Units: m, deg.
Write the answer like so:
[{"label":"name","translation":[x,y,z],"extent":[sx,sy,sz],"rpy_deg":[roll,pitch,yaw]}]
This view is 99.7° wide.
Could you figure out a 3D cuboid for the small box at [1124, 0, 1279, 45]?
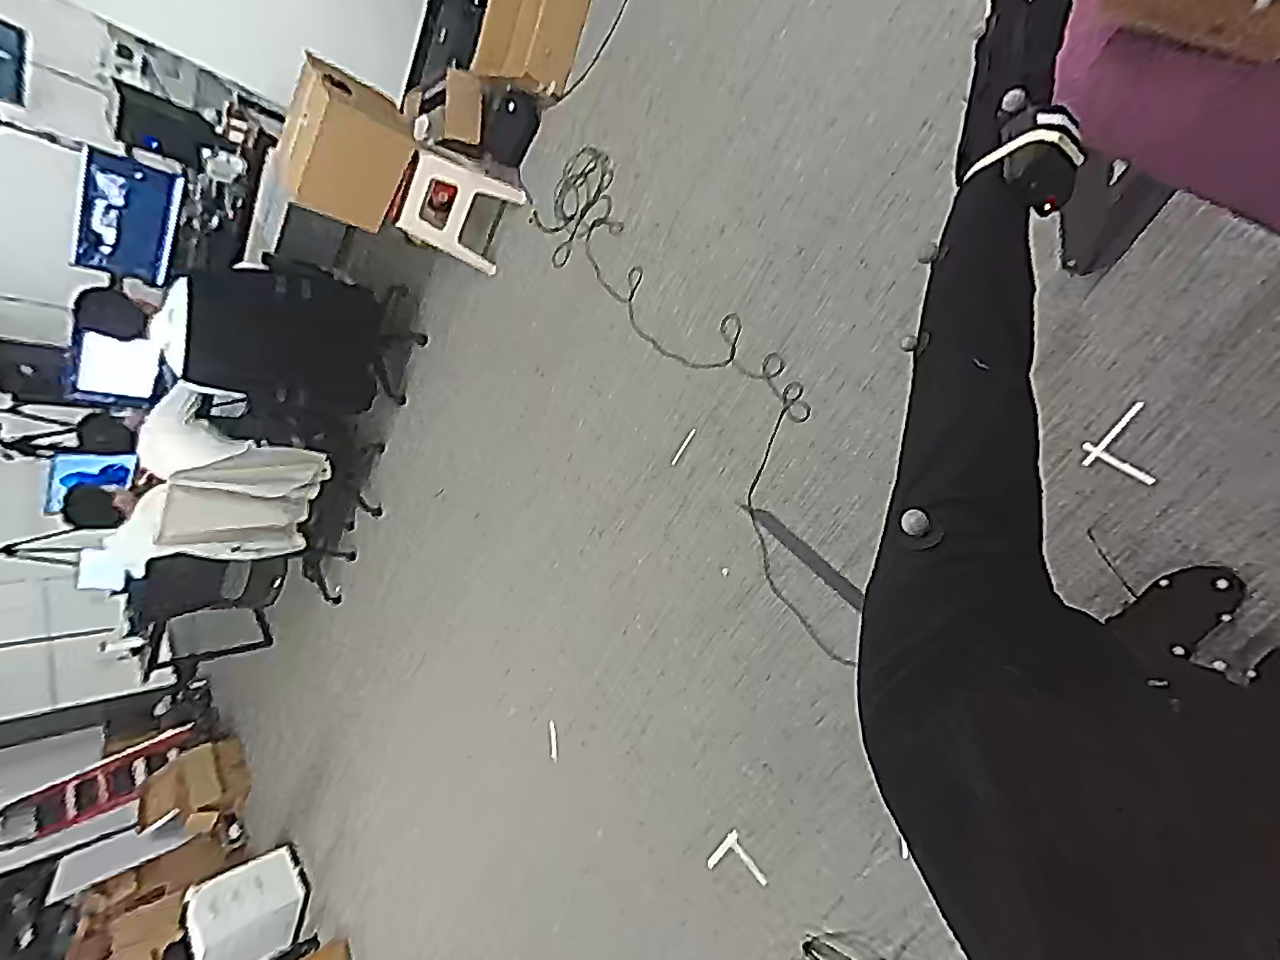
[{"label":"small box","translation":[0.525,-0.491,0.418],"extent":[0.168,0.176,0.179],"rpy_deg":[32,111,17]}]
